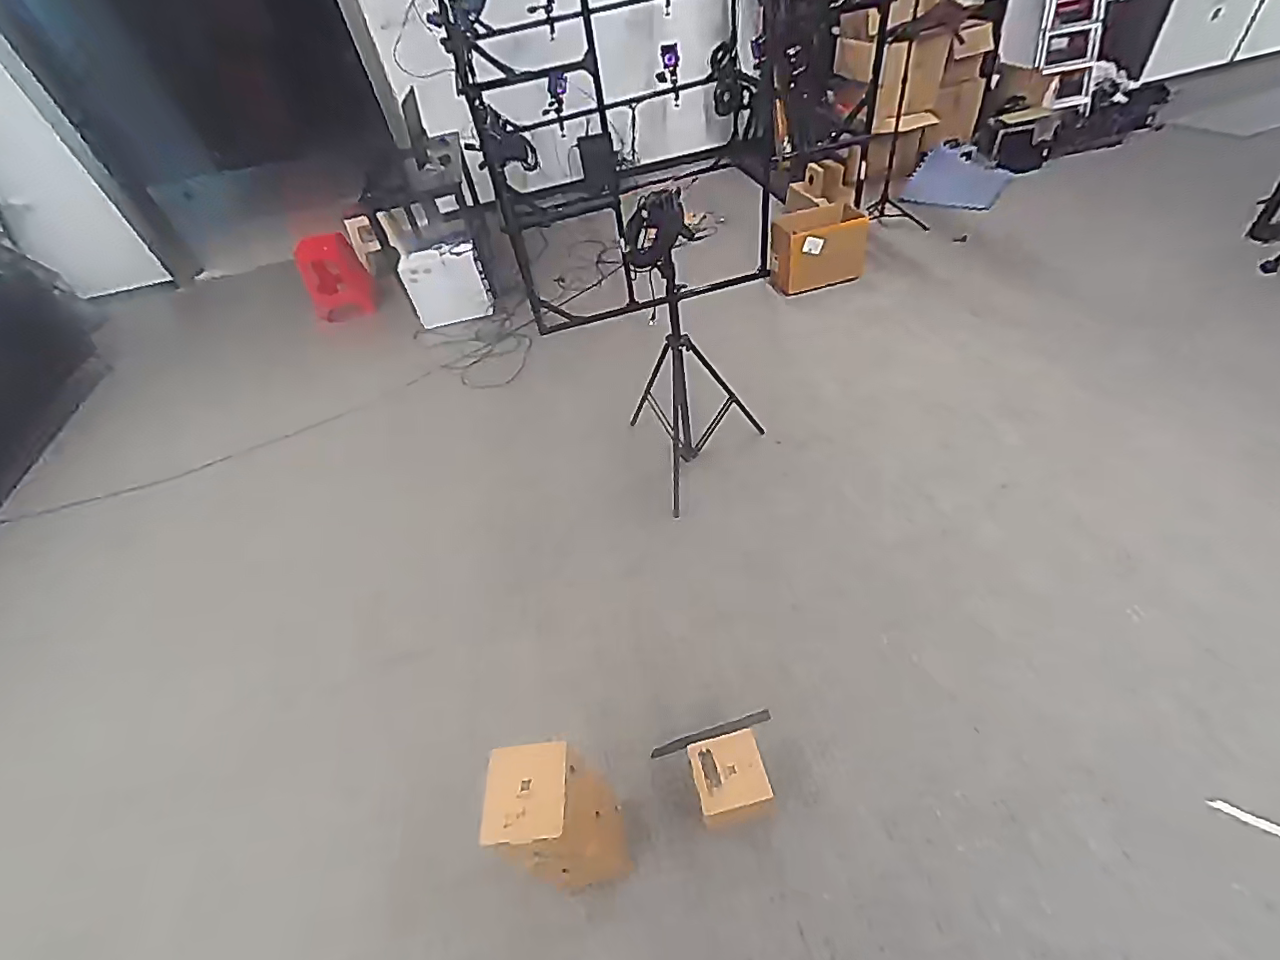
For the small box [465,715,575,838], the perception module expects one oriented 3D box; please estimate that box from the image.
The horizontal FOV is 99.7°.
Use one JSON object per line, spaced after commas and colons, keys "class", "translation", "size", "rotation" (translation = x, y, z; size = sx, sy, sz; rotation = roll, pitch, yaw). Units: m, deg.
{"class": "small box", "translation": [-0.233, 0.601, 1.095], "size": [0.168, 0.176, 0.179], "rotation": [-8, 47, 5]}
